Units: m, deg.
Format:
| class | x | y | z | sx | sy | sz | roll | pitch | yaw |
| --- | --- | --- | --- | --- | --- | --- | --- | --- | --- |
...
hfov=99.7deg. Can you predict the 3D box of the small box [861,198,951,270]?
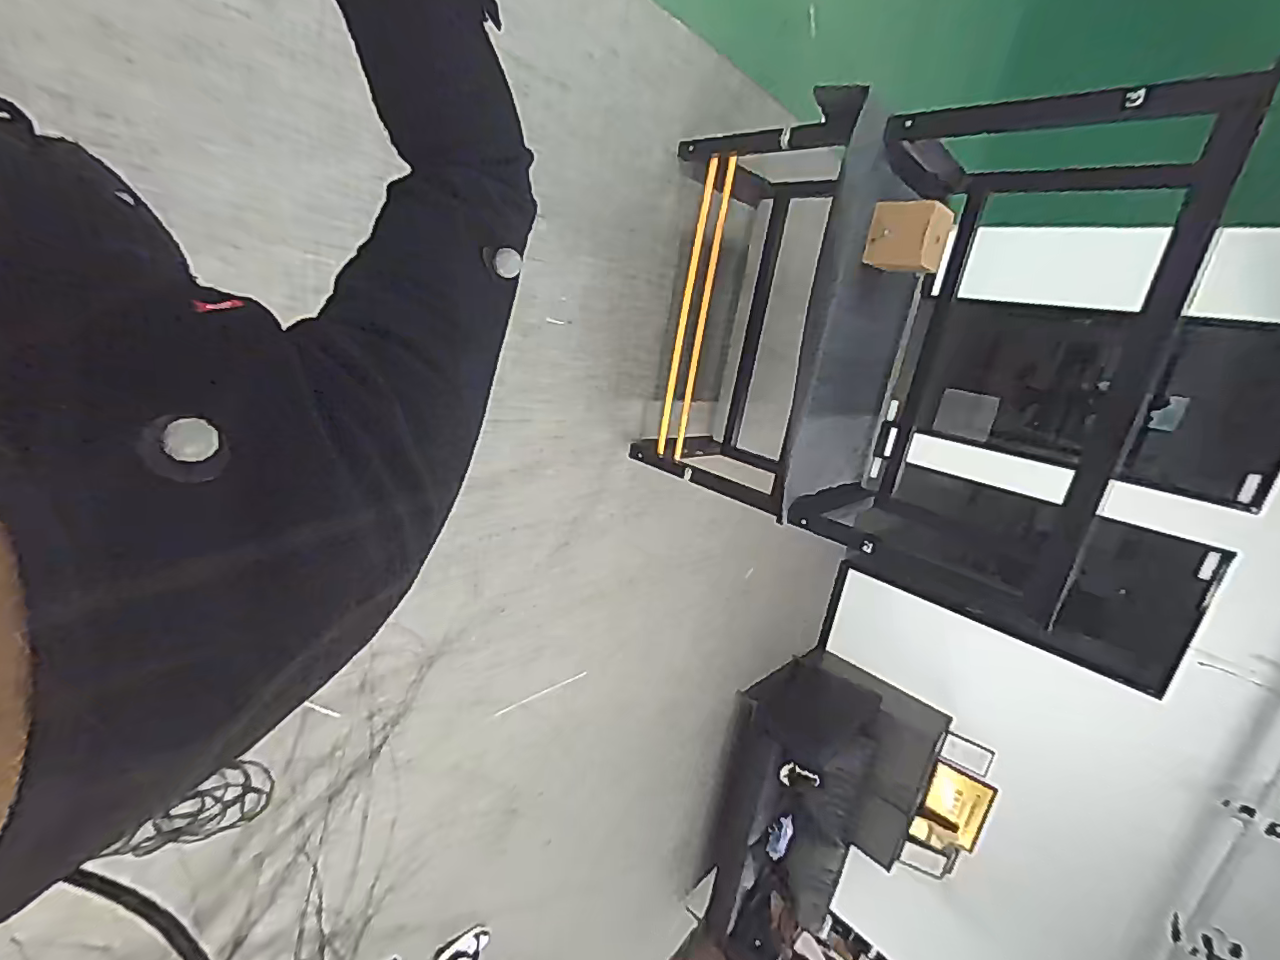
| class | x | y | z | sx | sy | sz | roll | pitch | yaw |
| --- | --- | --- | --- | --- | --- | --- | --- | --- | --- |
| small box | 0.779 | -0.722 | 1.589 | 0.179 | 0.176 | 0.168 | -11 | 116 | -45 |
